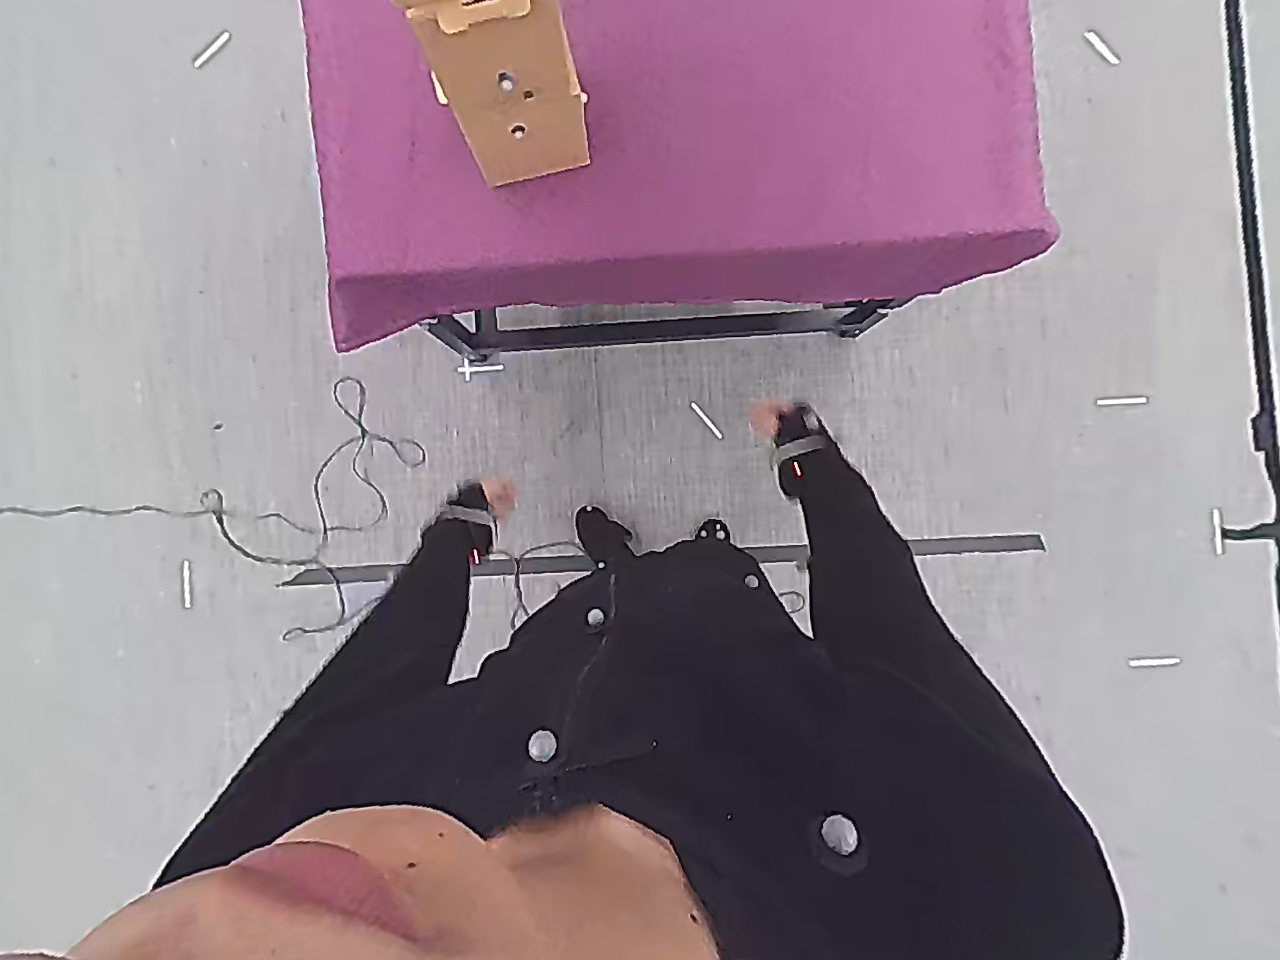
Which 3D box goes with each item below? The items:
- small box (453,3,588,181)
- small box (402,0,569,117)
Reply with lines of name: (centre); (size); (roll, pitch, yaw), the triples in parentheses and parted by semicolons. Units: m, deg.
small box: (-0.186, -0.590, 0.823); (0.179, 0.176, 0.168); (-14, 90, -2)
small box: (-0.193, -0.595, 0.659); (0.168, 0.176, 0.179); (-15, 90, 0)
